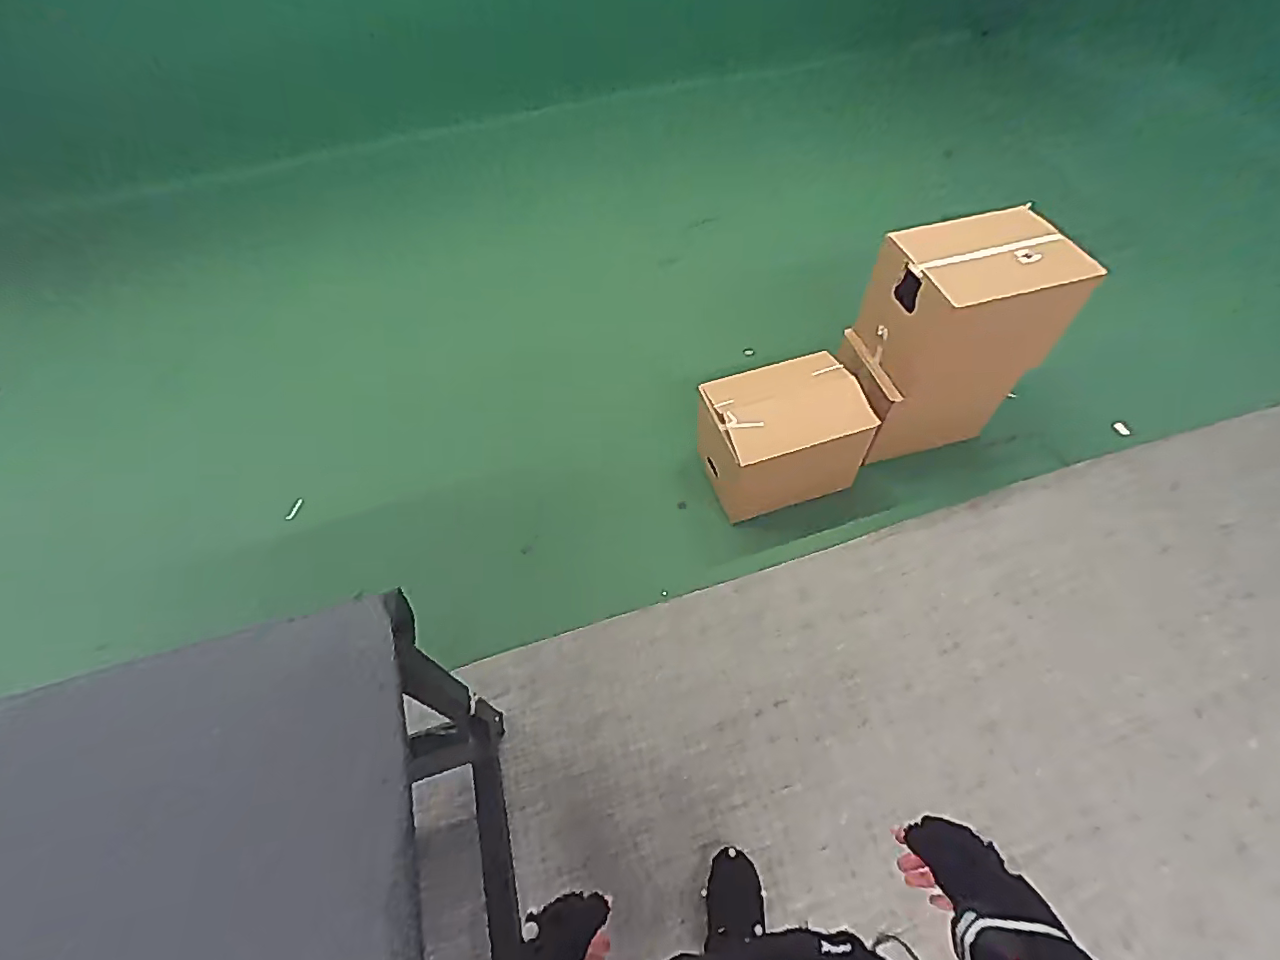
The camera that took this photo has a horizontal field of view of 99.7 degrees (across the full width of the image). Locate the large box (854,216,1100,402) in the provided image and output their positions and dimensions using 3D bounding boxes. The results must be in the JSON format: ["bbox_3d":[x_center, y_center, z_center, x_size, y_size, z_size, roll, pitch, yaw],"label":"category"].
[{"bbox_3d":[0.869,-0.458,1.462,0.408,0.320,0.320,-14,57,-7],"label":"large box"}]
